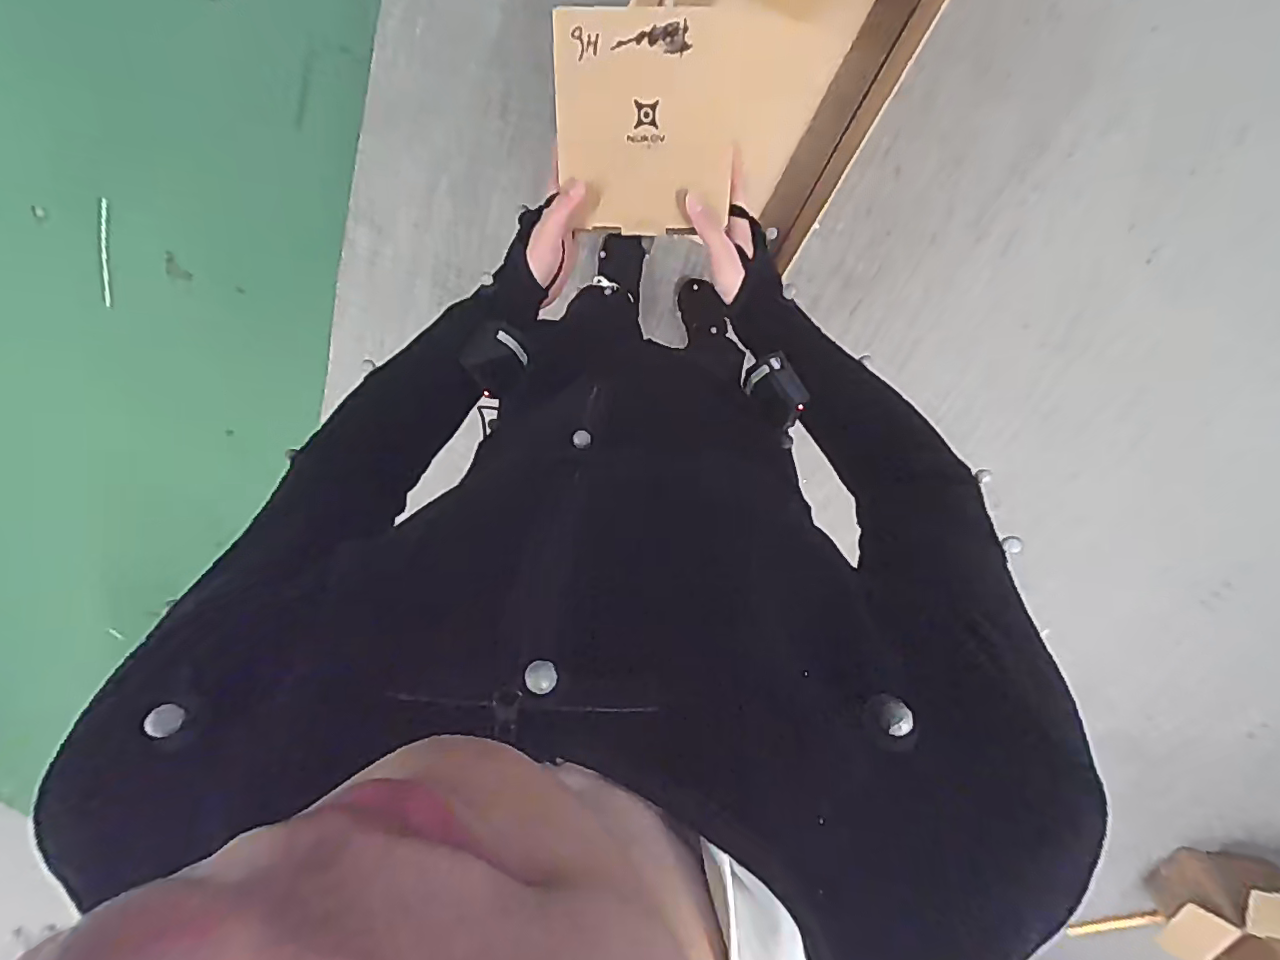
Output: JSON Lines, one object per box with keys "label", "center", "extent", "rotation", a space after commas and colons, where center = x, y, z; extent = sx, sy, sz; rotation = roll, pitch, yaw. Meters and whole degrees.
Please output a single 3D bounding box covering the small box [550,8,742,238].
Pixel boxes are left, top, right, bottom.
{"label": "small box", "center": [0.009, -0.352, 0.561], "extent": [0.168, 0.176, 0.179], "rotation": [2, 115, 3]}
